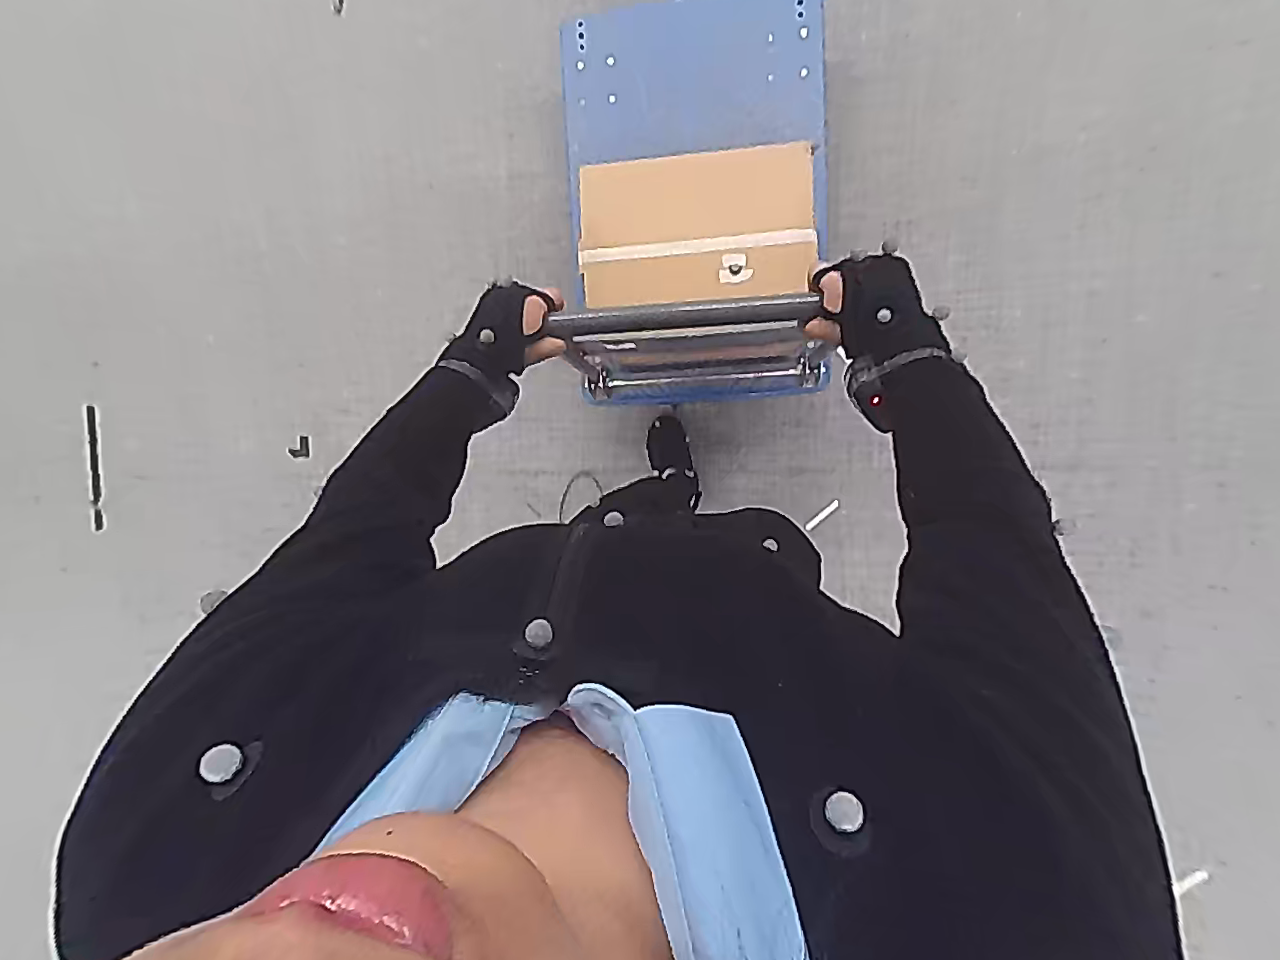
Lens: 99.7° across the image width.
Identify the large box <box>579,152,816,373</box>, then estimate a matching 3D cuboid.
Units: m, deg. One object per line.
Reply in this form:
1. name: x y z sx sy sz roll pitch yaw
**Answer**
1. large box: 0.111 -0.400 1.084 0.408 0.320 0.320 -2 95 6
